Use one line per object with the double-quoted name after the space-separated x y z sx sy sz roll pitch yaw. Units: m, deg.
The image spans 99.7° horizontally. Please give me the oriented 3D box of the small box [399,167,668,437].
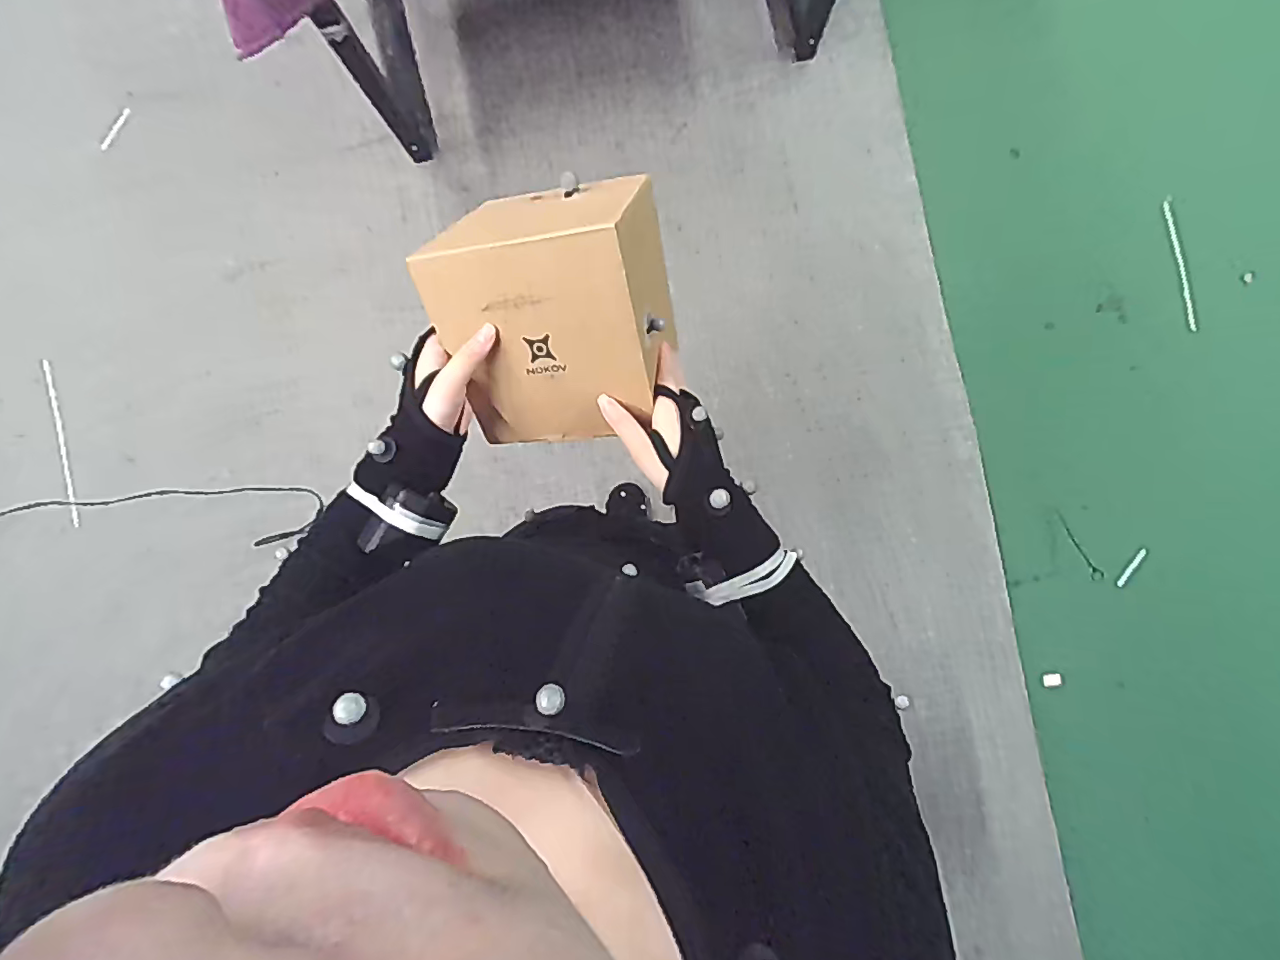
-0.073 -0.160 0.494 0.168 0.176 0.179 -2 130 14 "small box"
